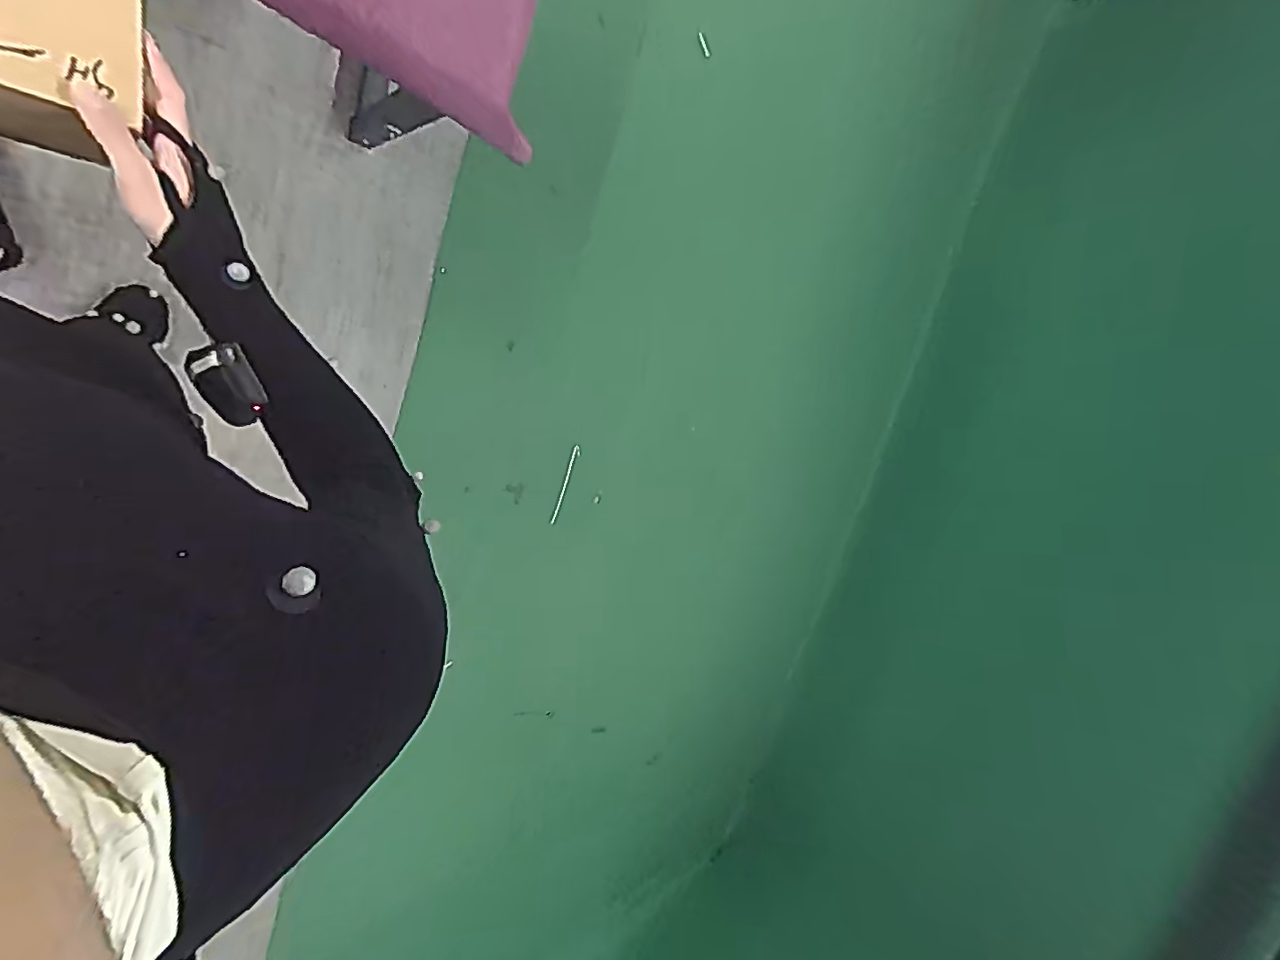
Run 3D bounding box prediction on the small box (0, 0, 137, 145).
[{"bbox_3d":[-0.487,-0.380,0.391,0.168,0.176,0.179,-2,104,-48],"label":"small box"}]
